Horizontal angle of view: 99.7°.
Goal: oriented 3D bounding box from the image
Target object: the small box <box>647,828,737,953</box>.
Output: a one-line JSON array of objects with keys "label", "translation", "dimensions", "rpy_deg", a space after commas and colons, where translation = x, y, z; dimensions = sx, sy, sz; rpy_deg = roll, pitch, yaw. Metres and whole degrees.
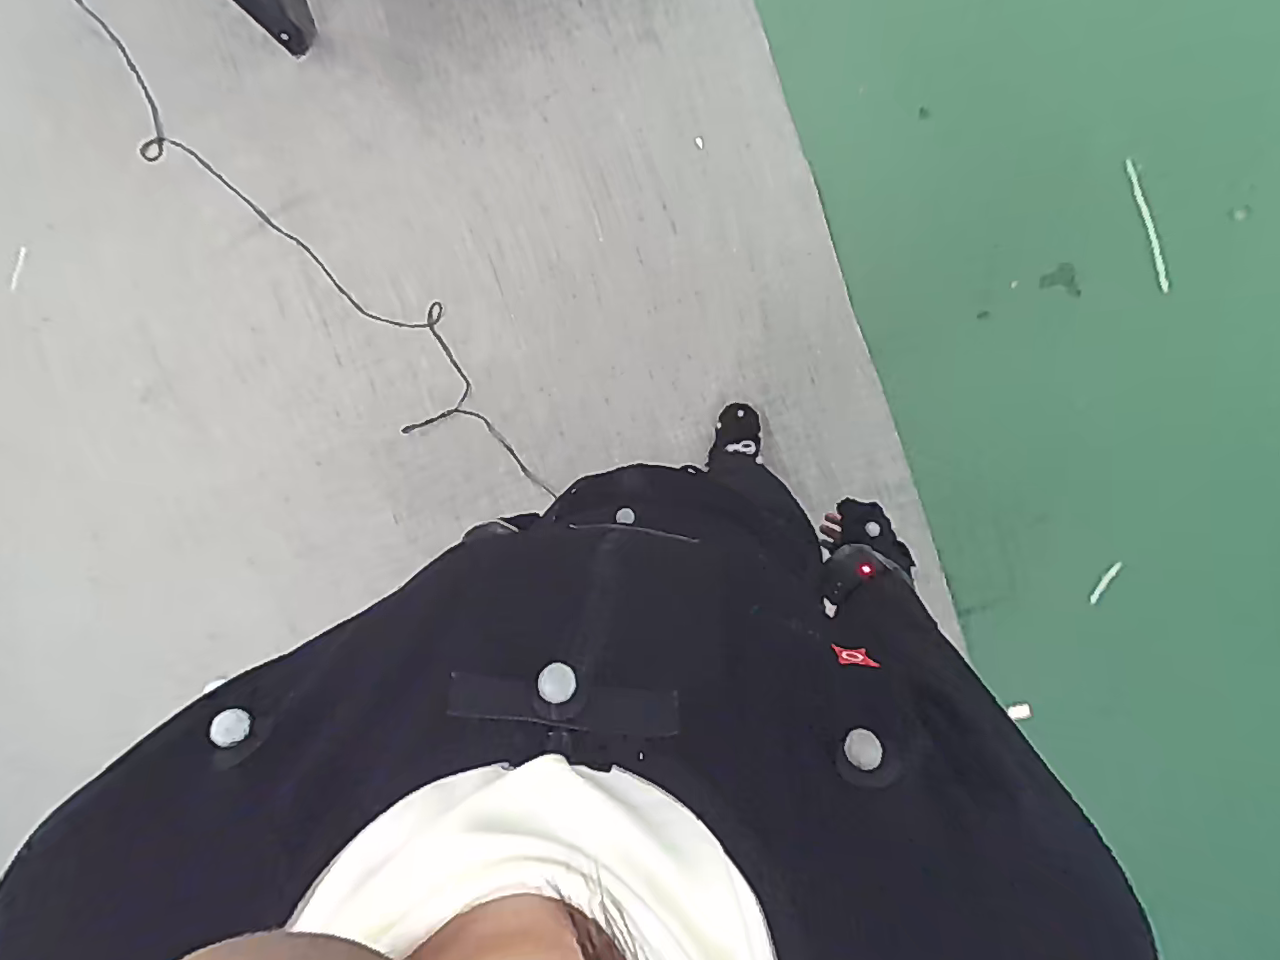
[{"label": "small box", "translation": [0.133, 1.029, 1.368], "dimensions": [0.179, 0.176, 0.168], "rpy_deg": [-21, 92, 6]}]
